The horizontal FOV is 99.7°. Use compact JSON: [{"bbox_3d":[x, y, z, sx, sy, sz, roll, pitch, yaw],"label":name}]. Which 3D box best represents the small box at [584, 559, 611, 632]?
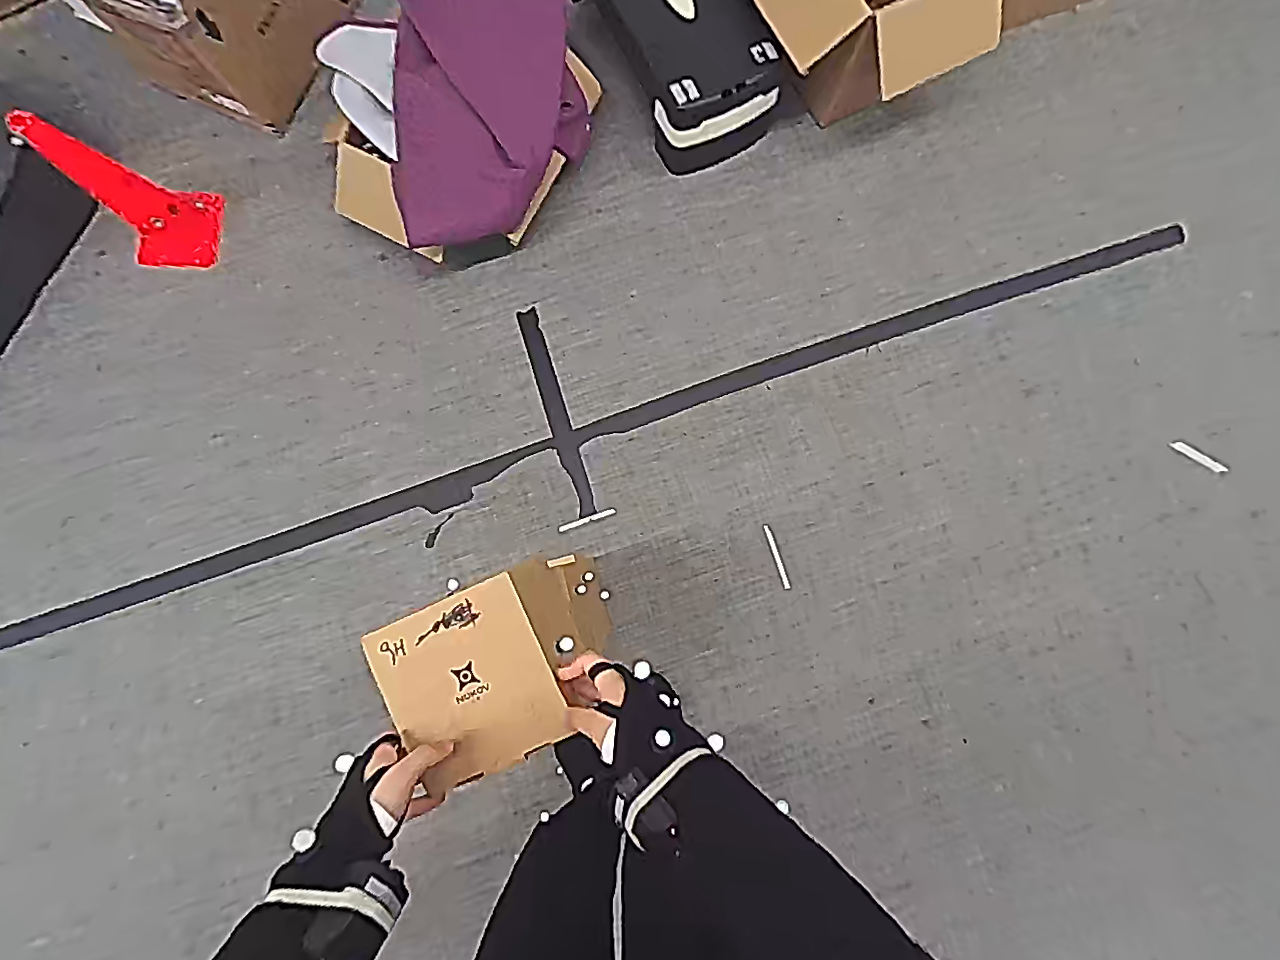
[{"bbox_3d":[-0.168,0.267,1.142,0.179,0.176,0.168,-15,83,-2],"label":"small box"}]

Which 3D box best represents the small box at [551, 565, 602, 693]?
[{"bbox_3d":[-0.161,0.232,0.817,0.168,0.176,0.179,-15,84,-1],"label":"small box"}]

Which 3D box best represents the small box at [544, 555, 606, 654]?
[{"bbox_3d":[-0.164,0.240,0.980,0.168,0.176,0.179,-15,83,-1],"label":"small box"}]

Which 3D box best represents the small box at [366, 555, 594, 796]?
[{"bbox_3d":[-0.163,0.204,0.614,0.168,0.176,0.179,-25,89,1],"label":"small box"}]
